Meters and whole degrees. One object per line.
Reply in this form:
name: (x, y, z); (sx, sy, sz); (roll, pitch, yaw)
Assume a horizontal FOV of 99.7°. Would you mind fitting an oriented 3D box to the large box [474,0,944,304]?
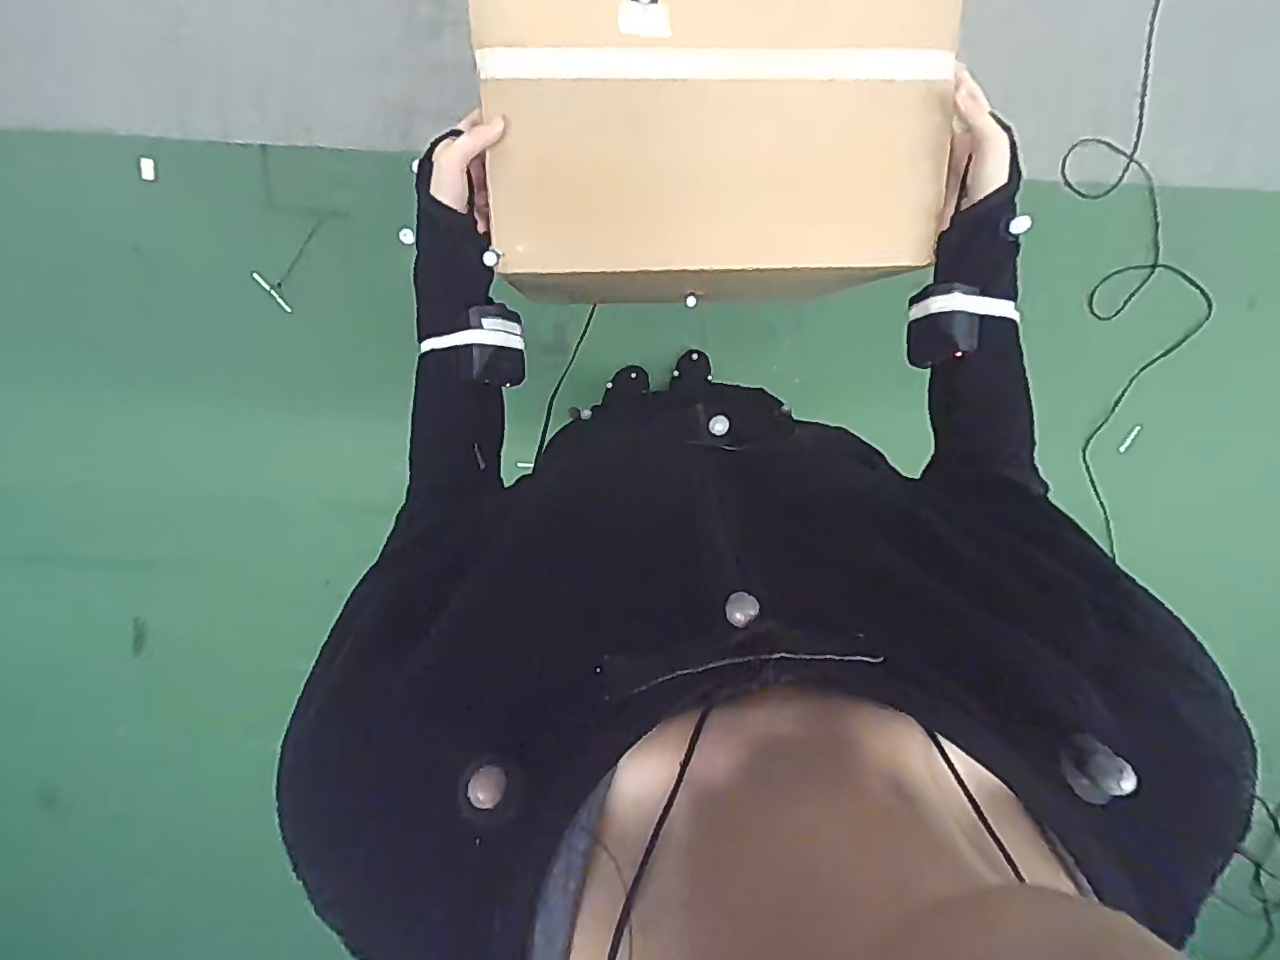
large box: (0.056, -0.377, 0.610); (0.408, 0.320, 0.320); (-3, 102, -3)
